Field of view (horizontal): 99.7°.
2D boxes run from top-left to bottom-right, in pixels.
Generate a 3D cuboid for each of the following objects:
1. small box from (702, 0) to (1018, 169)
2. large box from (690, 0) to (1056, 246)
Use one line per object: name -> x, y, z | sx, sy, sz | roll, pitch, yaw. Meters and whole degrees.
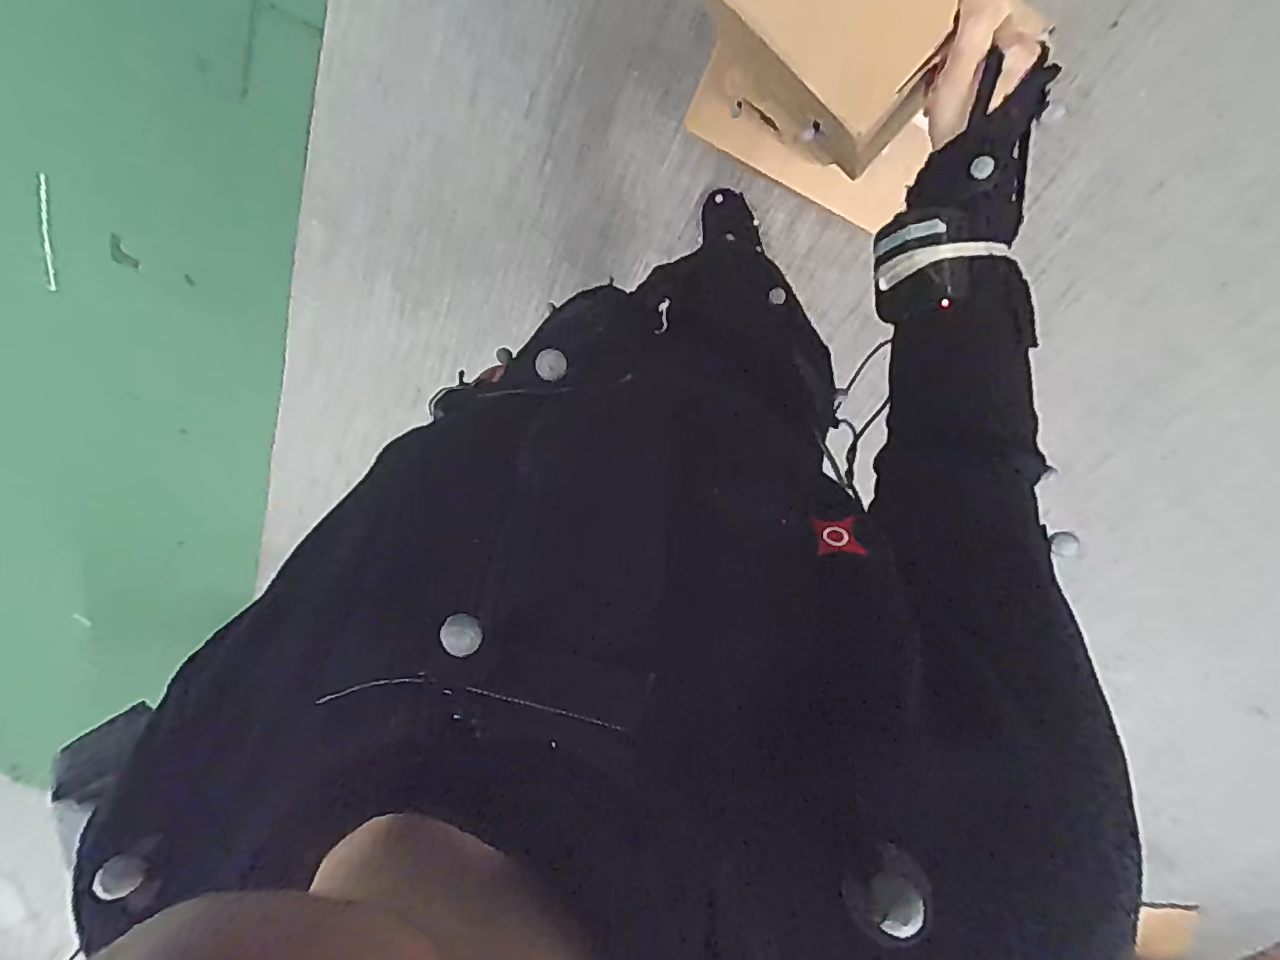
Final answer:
small box -> 0.169, -0.366, 0.405 | 0.179, 0.176, 0.168 | 44, 116, 0
large box -> 0.332, -0.643, 0.900 | 0.408, 0.320, 0.320 | 25, 121, -6
